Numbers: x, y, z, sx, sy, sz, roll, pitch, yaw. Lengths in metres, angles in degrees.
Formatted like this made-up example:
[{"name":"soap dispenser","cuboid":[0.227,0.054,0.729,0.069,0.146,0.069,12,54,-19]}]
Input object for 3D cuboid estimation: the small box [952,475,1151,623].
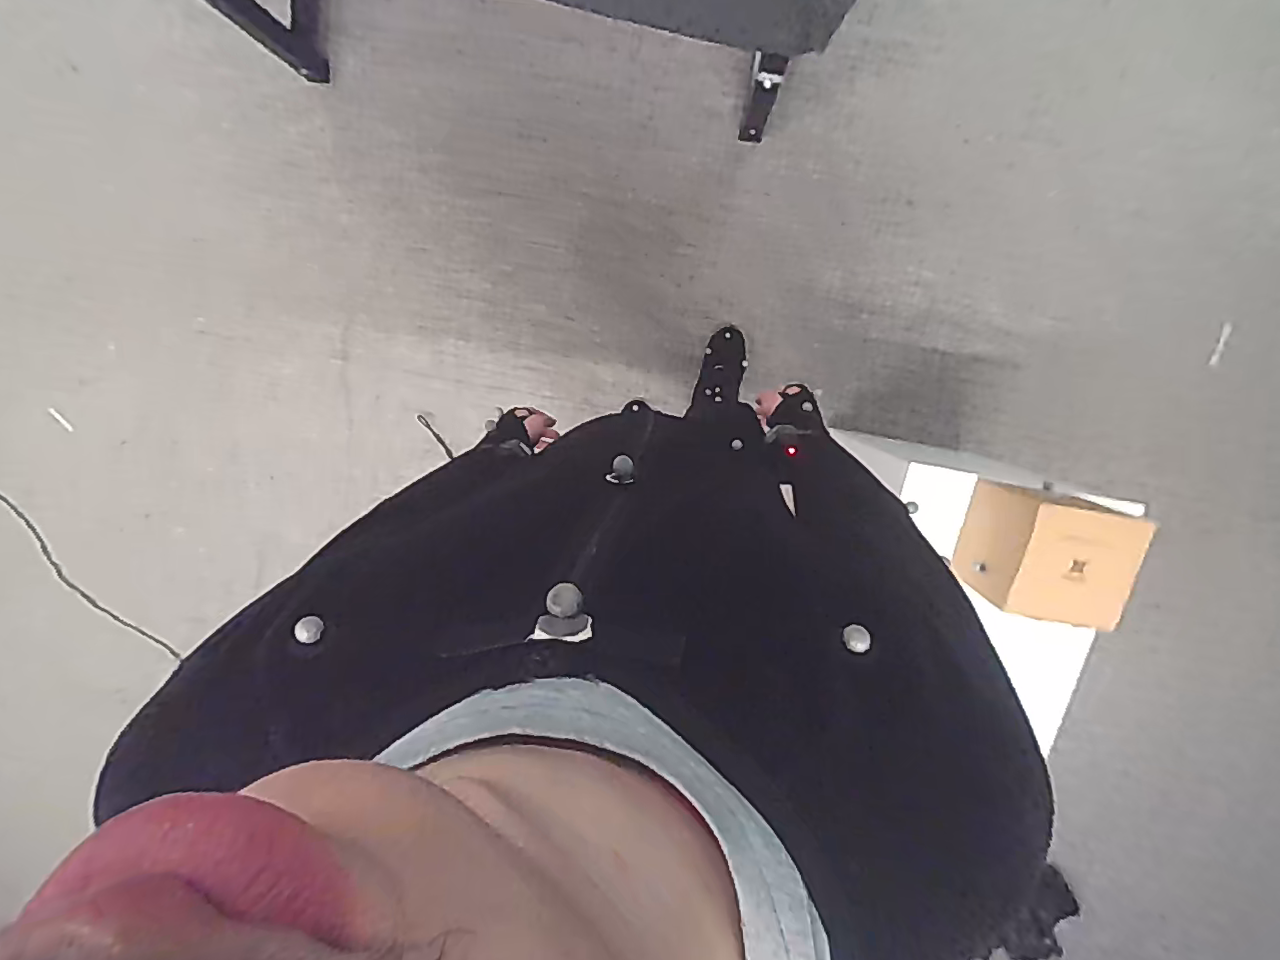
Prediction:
[{"name":"small box","cuboid":[0.632,0.101,0.857,0.168,0.176,0.179,8,102,-2]}]
